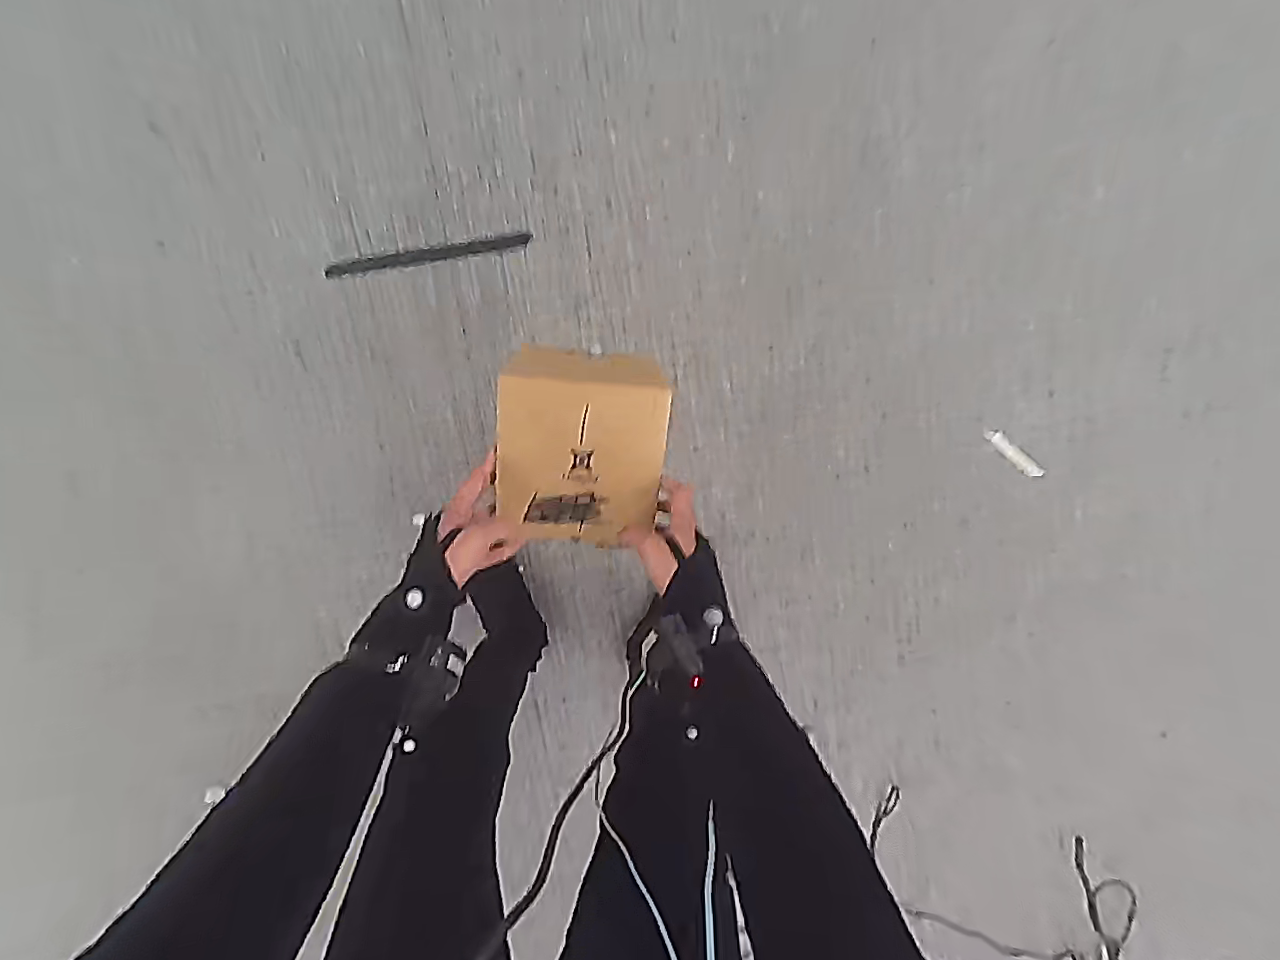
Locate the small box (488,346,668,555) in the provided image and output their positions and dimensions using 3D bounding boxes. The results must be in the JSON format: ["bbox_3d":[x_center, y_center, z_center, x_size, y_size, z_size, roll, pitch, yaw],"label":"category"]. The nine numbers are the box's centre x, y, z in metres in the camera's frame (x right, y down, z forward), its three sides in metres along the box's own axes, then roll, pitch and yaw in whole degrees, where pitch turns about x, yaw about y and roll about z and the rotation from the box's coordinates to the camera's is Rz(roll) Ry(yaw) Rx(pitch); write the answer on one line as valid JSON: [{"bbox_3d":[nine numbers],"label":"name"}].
[{"bbox_3d":[-0.069,-0.039,0.600,0.168,0.176,0.179,5,113,-7],"label":"small box"}]
